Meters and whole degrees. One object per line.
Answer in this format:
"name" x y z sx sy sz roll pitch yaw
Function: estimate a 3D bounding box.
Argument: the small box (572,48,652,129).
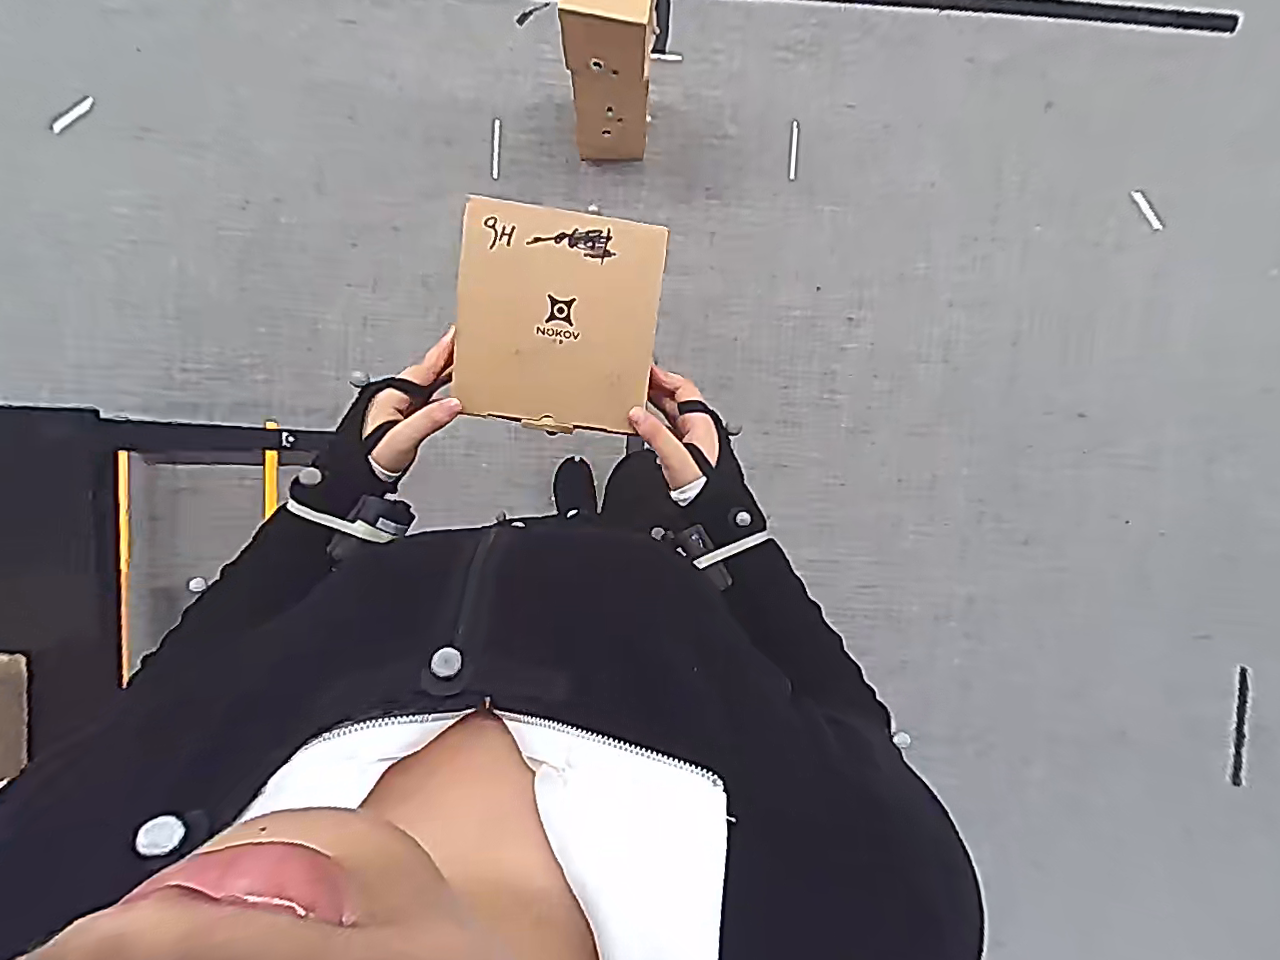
"small box" -0.060 -0.920 1.196 0.168 0.176 0.179 3 93 -2

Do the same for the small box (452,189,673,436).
"small box" -0.071 -0.147 0.521 0.168 0.176 0.179 7 100 -6

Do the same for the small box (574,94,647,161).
"small box" -0.072 -0.928 1.360 0.179 0.176 0.168 -1 93 -3

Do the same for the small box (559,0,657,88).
"small box" -0.054 -0.905 1.034 0.168 0.176 0.179 8 94 -2
